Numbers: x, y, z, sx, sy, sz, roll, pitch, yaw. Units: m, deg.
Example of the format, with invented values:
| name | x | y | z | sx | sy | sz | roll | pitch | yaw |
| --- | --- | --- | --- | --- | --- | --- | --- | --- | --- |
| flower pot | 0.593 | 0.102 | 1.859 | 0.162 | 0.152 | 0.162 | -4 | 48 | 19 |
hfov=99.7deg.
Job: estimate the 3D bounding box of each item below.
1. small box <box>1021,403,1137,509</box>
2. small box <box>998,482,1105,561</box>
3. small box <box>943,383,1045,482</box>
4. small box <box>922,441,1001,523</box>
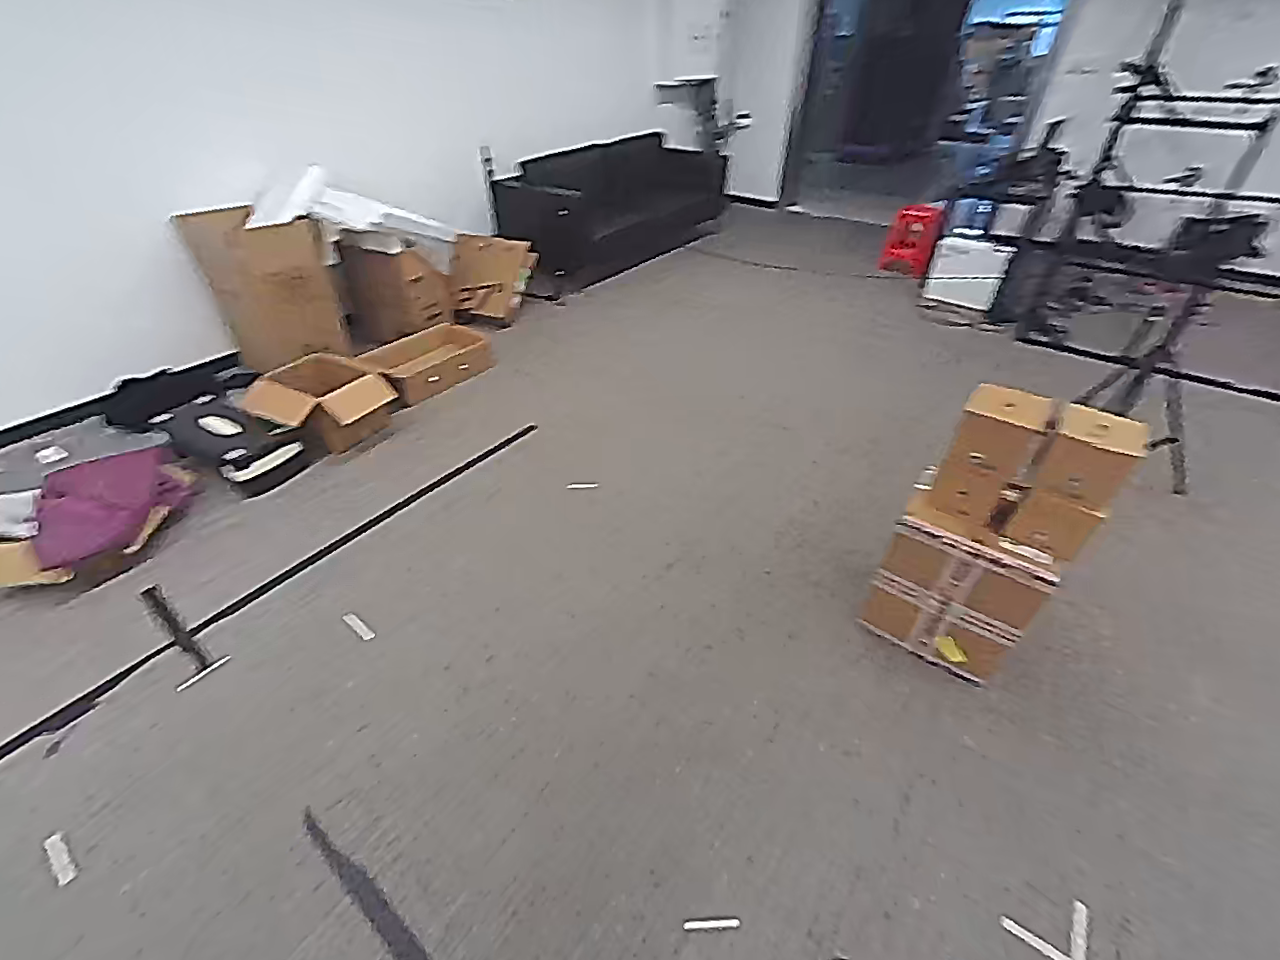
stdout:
| name | x | y | z | sx | sy | sz | roll | pitch | yaw |
| --- | --- | --- | --- | --- | --- | --- | --- | --- | --- |
| small box | 1.084 | -0.061 | 1.342 | 0.168 | 0.176 | 0.179 | 26 | 47 | 27 |
| small box | 1.088 | 0.077 | 1.434 | 0.168 | 0.176 | 0.179 | 28 | 48 | 28 |
| small box | 0.925 | -0.127 | 1.423 | 0.168 | 0.176 | 0.179 | 25 | 48 | 32 |
| small box | 0.926 | -0.007 | 1.536 | 0.168 | 0.176 | 0.179 | 26 | 48 | 31 |
